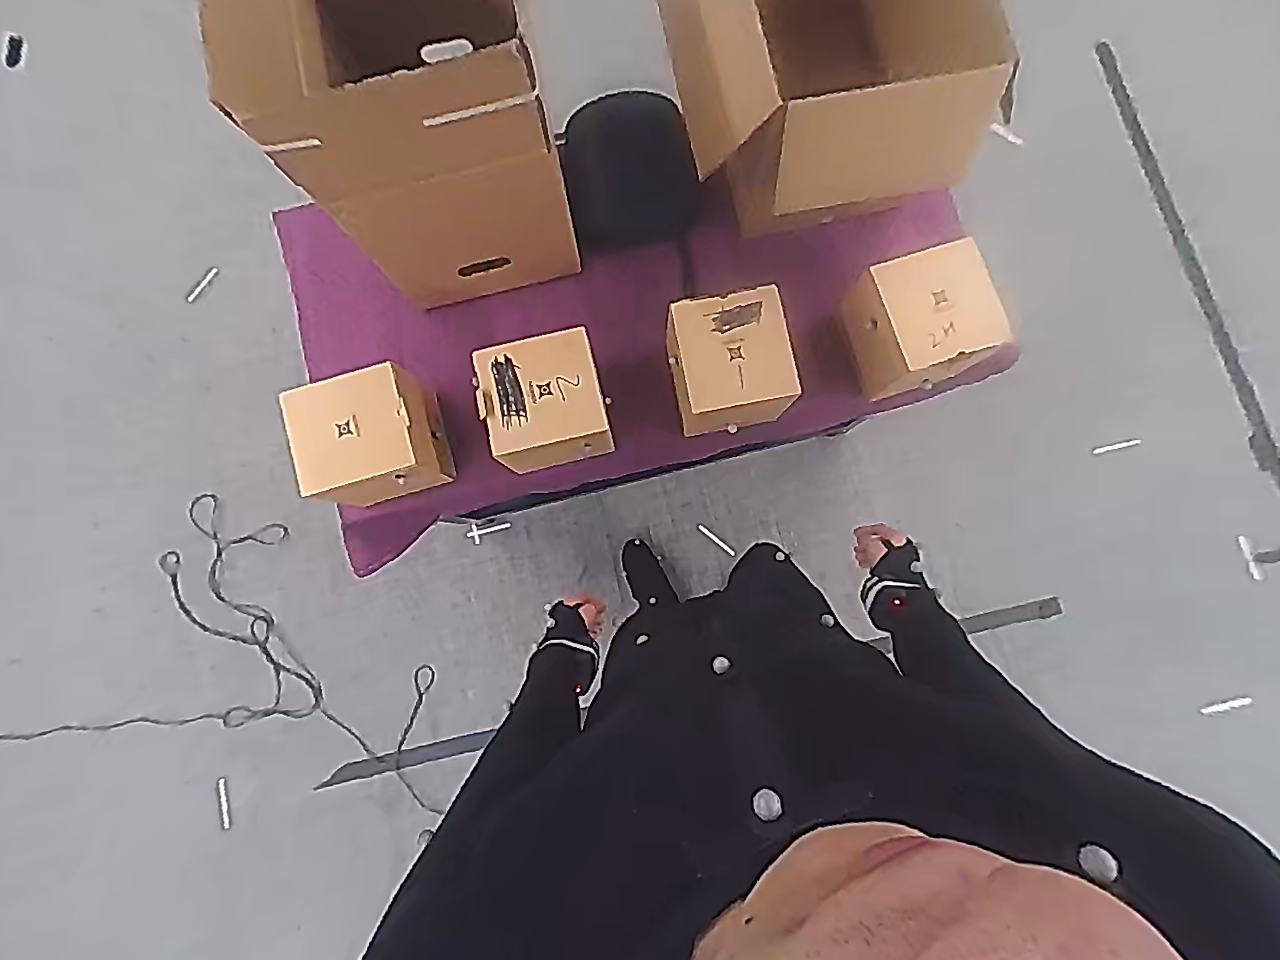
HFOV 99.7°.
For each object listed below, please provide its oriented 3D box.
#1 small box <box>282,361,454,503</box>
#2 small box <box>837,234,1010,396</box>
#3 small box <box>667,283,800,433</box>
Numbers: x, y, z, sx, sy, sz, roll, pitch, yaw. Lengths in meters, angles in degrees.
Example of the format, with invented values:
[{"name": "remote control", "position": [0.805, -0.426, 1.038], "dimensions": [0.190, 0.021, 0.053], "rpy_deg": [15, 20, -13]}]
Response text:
[{"name": "small box", "position": [-0.427, -0.067, 0.874], "dimensions": [0.179, 0.176, 0.168], "rpy_deg": [-17, 83, -3]}, {"name": "small box", "position": [0.446, -0.259, 0.884], "dimensions": [0.168, 0.176, 0.179], "rpy_deg": [-17, 83, 0]}, {"name": "small box", "position": [0.141, -0.190, 0.881], "dimensions": [0.168, 0.176, 0.179], "rpy_deg": [-11, 83, 0]}]
